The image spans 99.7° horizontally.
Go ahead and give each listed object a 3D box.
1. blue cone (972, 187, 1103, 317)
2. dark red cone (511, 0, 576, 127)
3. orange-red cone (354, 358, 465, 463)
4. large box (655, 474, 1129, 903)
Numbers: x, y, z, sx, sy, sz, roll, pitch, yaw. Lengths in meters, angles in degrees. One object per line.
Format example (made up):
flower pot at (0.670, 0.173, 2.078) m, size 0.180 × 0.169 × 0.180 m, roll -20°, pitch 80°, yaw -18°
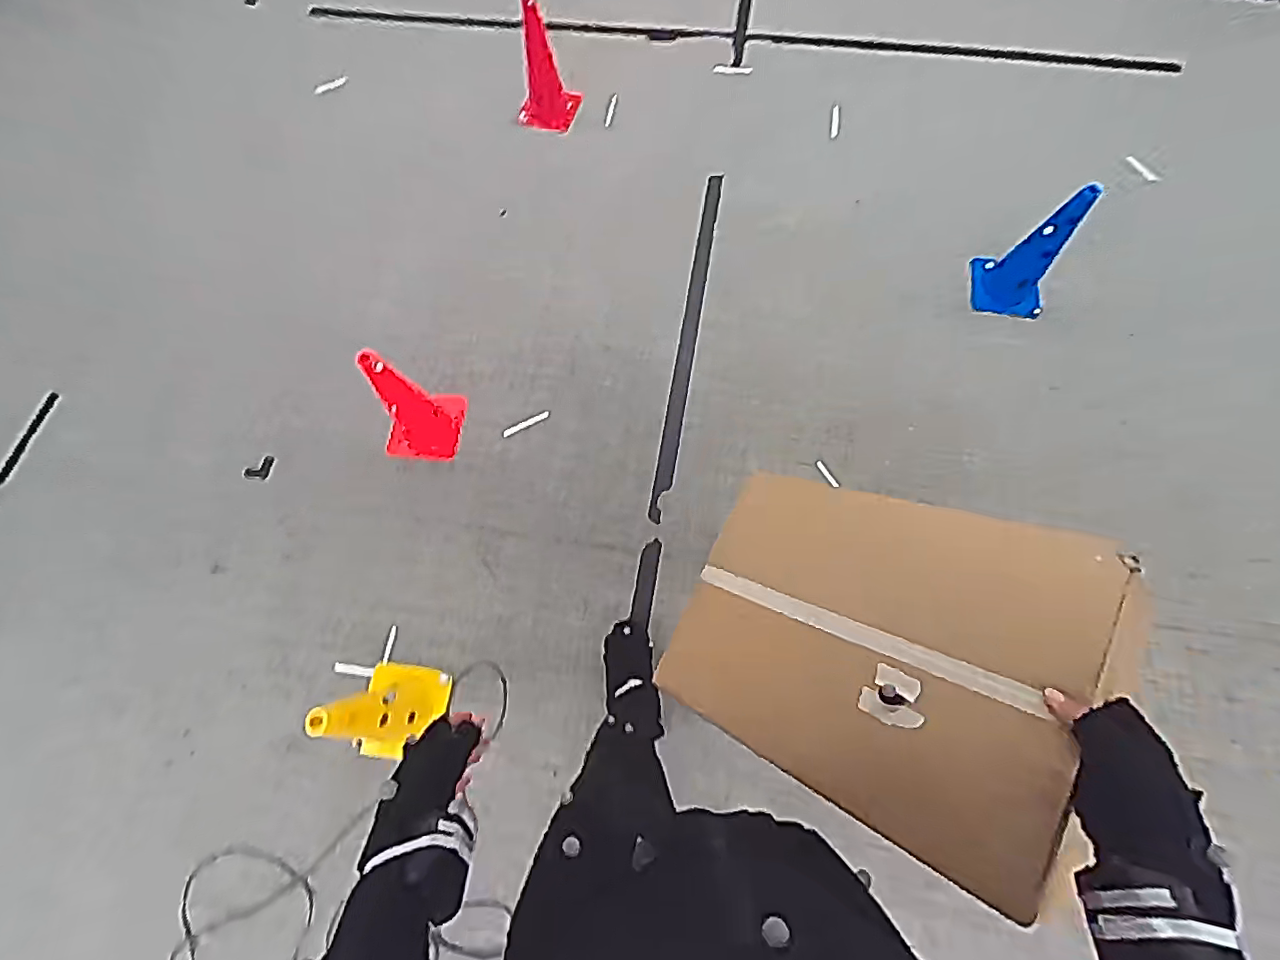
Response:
blue cone at (1.113, -0.644, 1.503) m, size 0.192 × 0.380 × 0.193 m, roll 11°, pitch 71°, yaw 5°
dark red cone at (-0.347, -1.406, 1.788) m, size 0.201 × 0.394 × 0.202 m, roll 14°, pitch 71°, yaw 6°
orange-red cone at (-0.617, -0.200, 1.381) m, size 0.198 × 0.360 × 0.199 m, roll 5°, pitch 72°, yaw 5°
large box at (0.304, 0.222, 0.671) m, size 0.408 × 0.320 × 0.320 m, roll 14°, pitch 73°, yaw 45°
